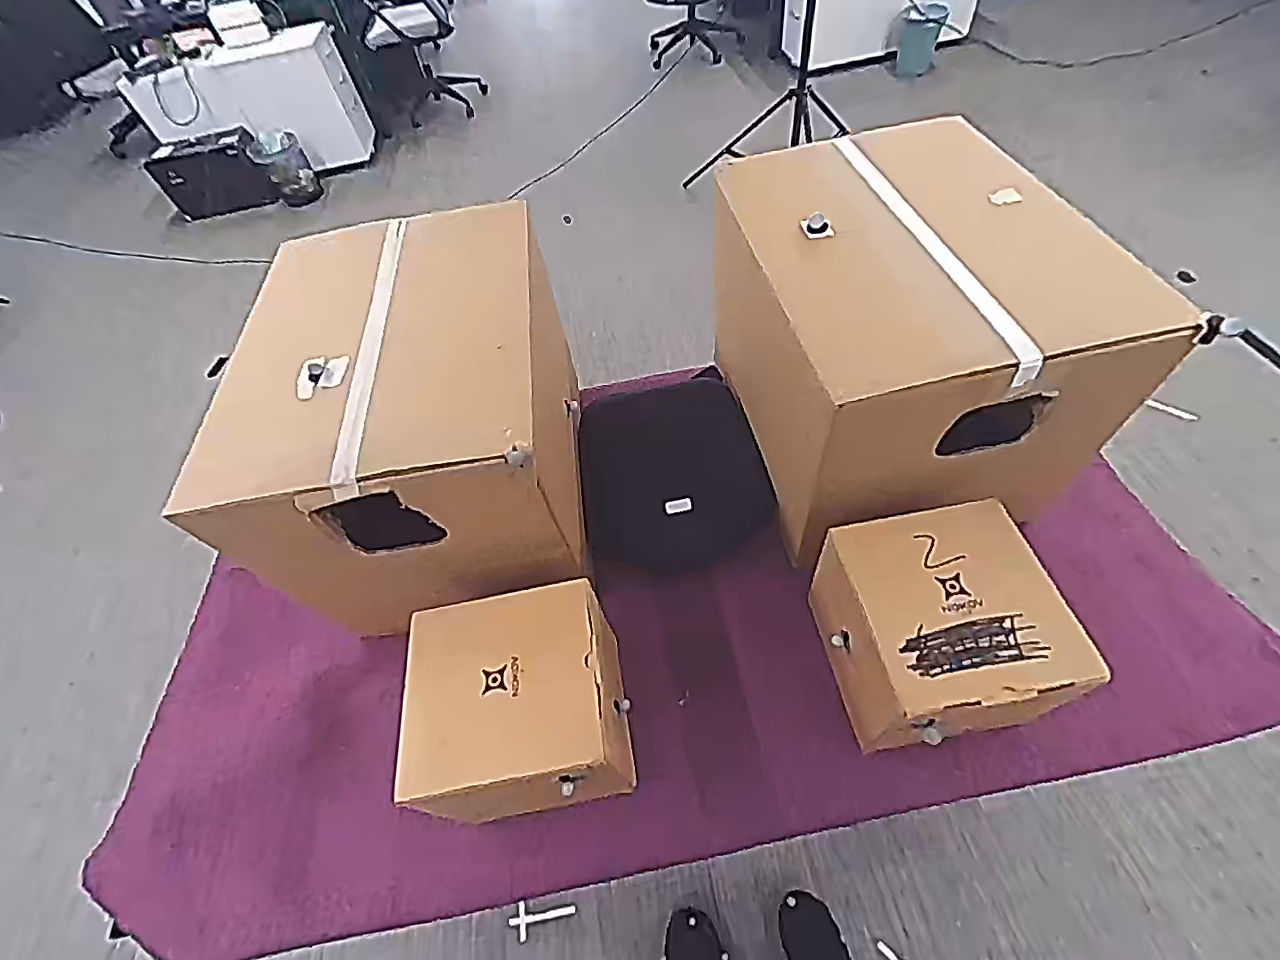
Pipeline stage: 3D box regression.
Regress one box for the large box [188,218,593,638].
[{"bbox_3d":[-0.251,-0.059,0.689,0.320,0.320,0.408,-11,56,1],"label":"large box"}]
